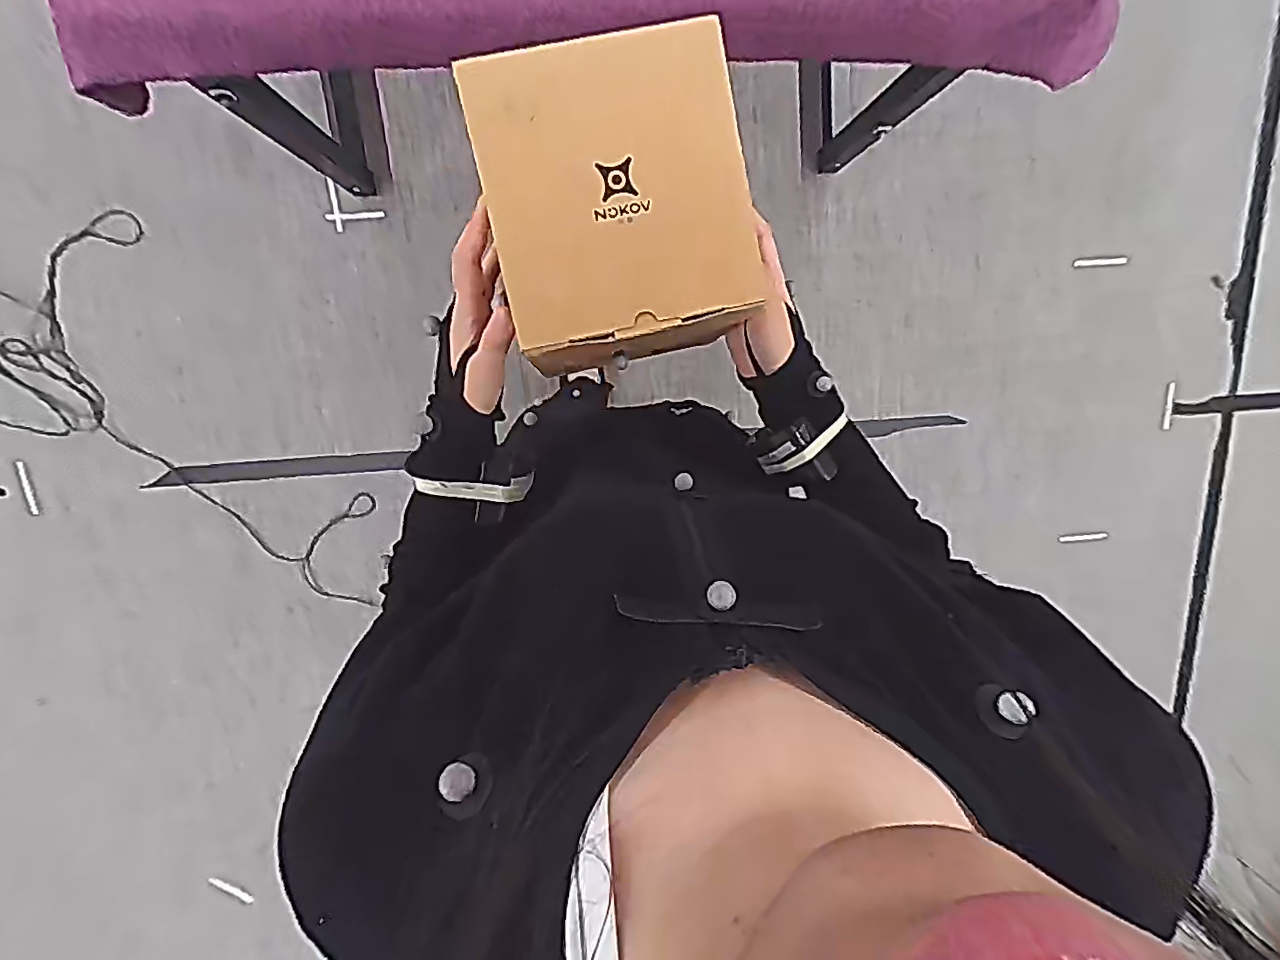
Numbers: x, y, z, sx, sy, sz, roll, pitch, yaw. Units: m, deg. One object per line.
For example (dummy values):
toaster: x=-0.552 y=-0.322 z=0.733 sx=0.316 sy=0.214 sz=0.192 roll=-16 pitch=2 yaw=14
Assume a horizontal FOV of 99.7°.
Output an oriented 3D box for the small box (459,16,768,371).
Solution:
small box: x=-0.021 y=-0.192 z=0.415 sx=0.168 sy=0.176 sz=0.179 roll=-13 pitch=97 yaw=-3
